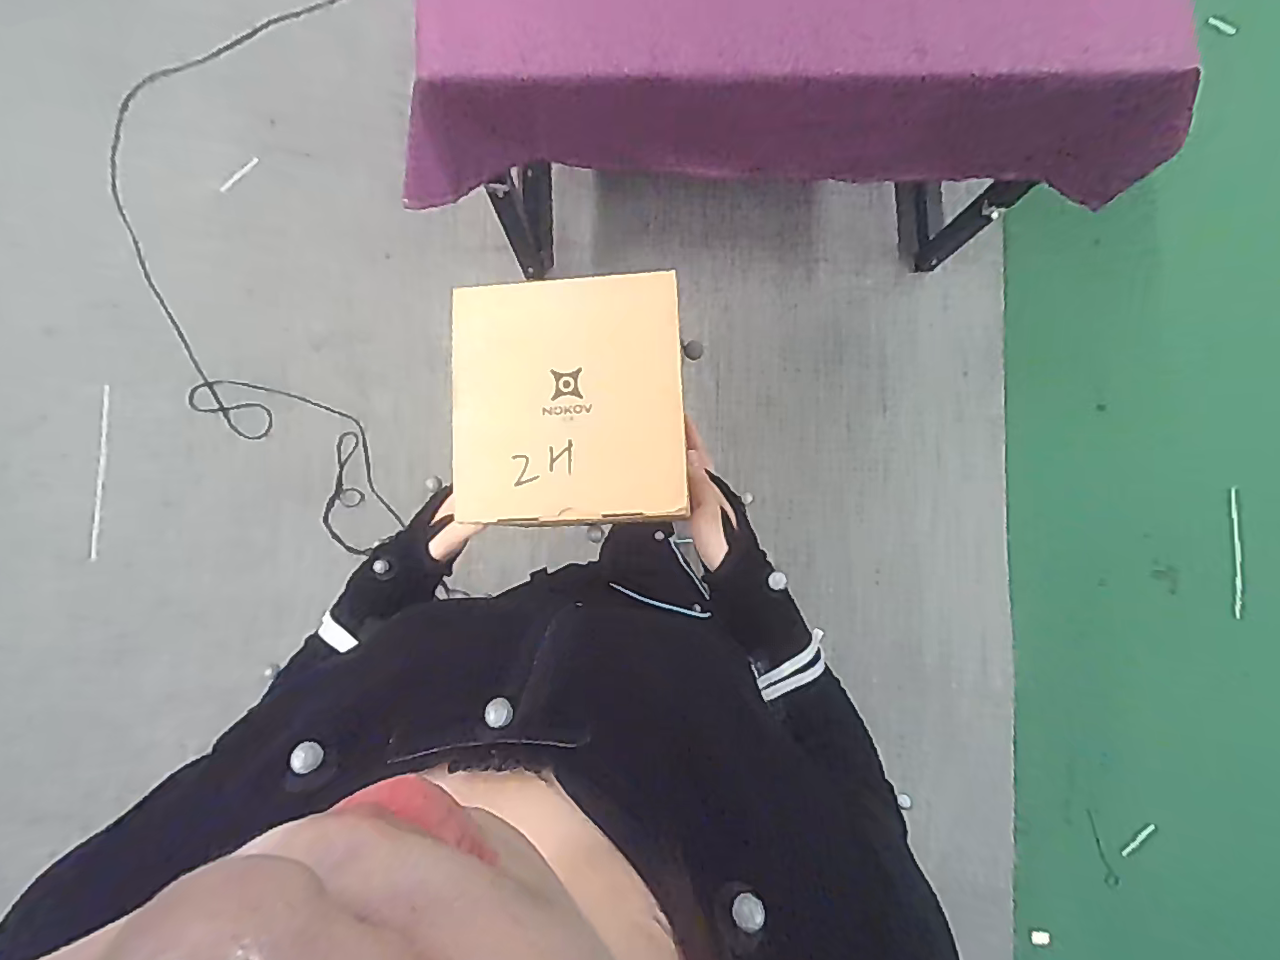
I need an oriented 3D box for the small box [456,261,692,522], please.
[{"bbox_3d":[-0.043,-0.058,0.461,0.168,0.176,0.179,-3,84,5],"label":"small box"}]
